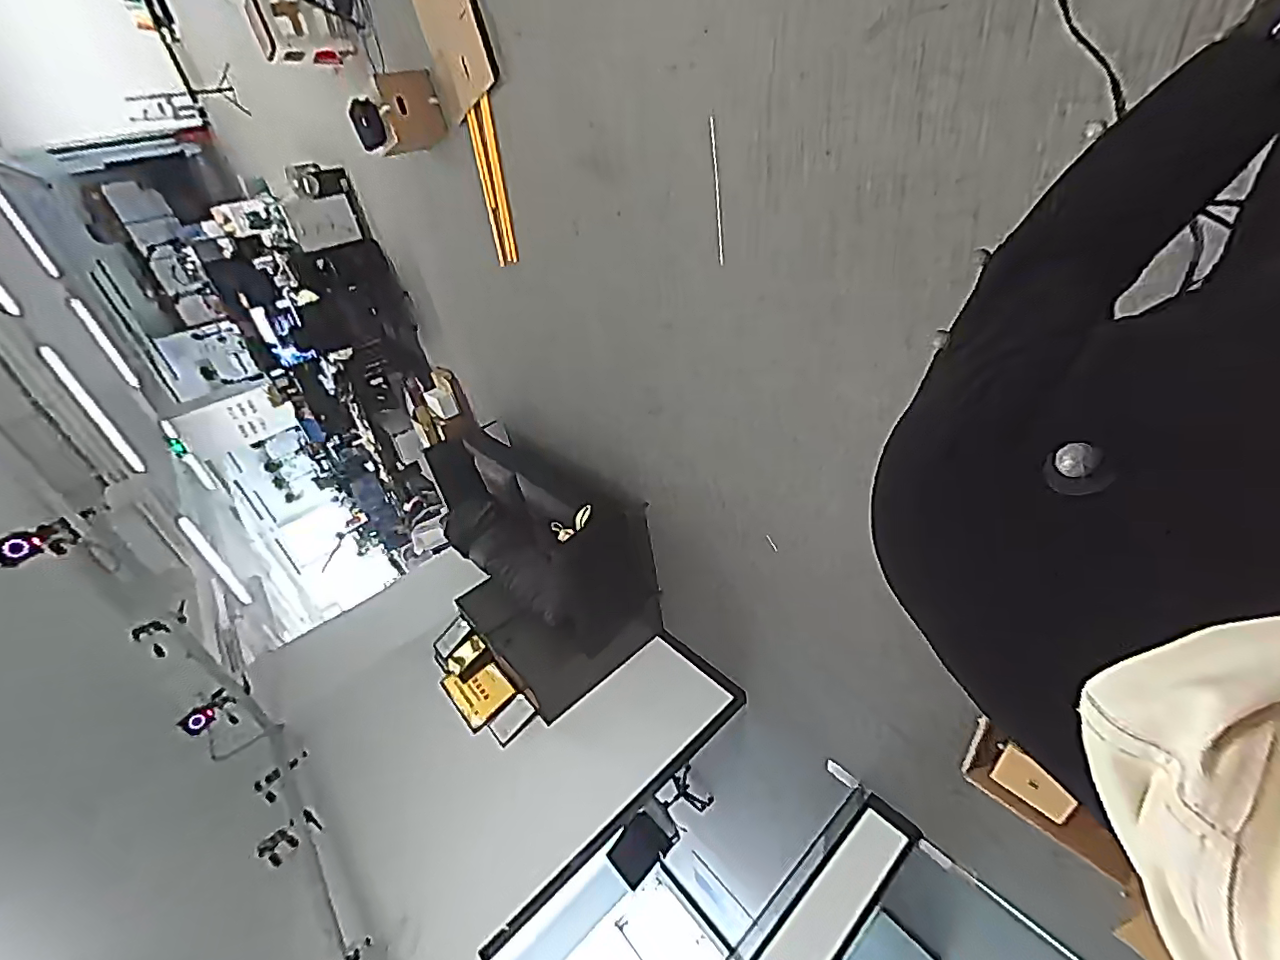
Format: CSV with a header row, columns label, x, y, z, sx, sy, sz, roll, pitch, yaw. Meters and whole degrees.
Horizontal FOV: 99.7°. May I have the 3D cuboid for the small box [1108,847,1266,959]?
label,x,y,z,sx,sy,sz,roll,pitch,yaw
small box,1.115,0.907,1.105,0.168,0.176,0.179,30,141,39
